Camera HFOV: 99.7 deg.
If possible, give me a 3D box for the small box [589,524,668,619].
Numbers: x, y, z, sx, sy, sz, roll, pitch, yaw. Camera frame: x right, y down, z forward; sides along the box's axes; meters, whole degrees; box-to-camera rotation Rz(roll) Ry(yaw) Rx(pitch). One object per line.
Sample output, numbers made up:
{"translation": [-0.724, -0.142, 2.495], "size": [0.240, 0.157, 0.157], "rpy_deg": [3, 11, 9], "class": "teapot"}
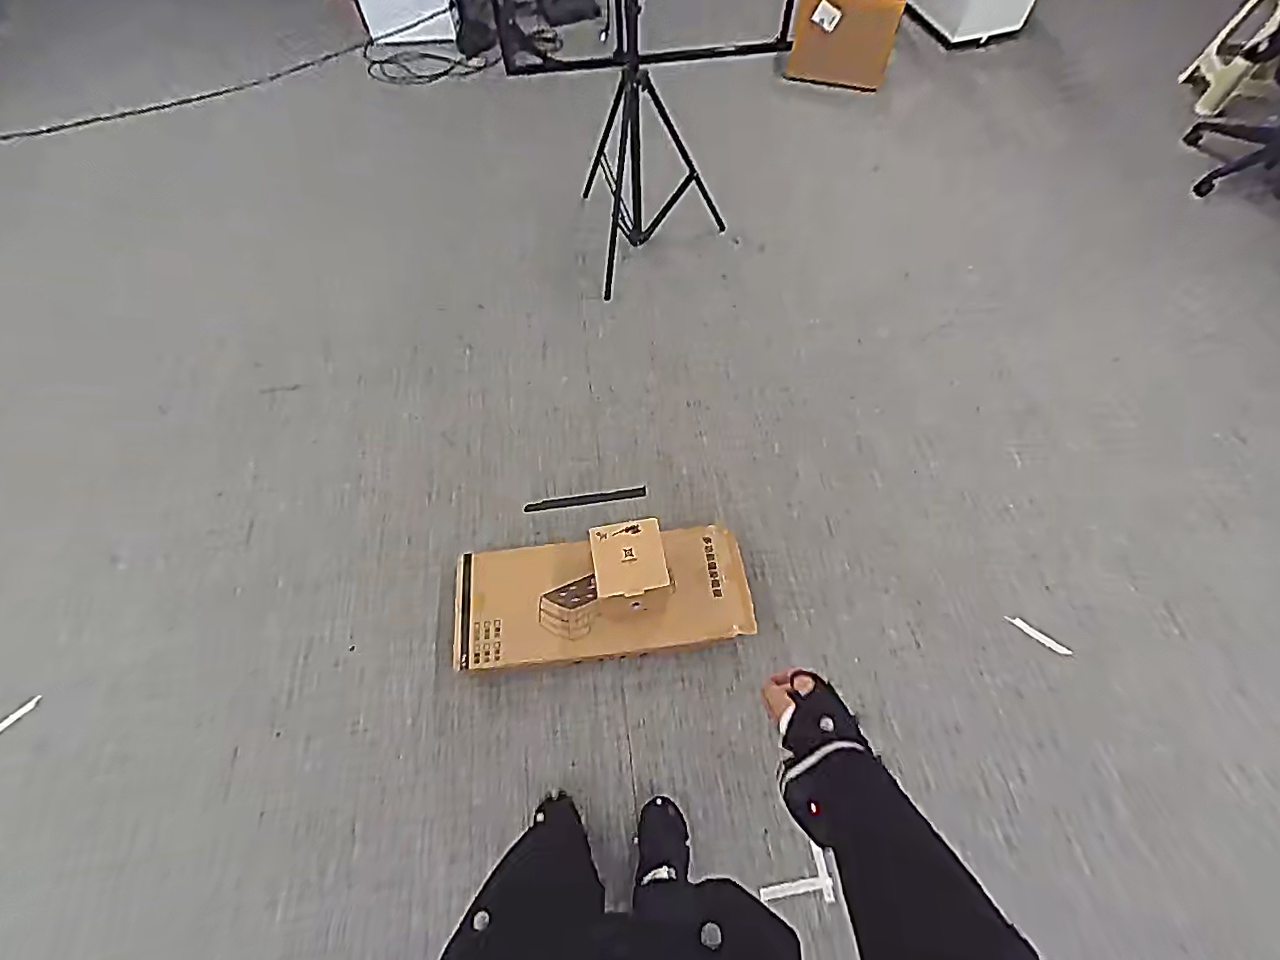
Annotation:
{"translation": [-0.025, 0.228, 1.307], "size": [0.168, 0.176, 0.179], "rpy_deg": [-9, 62, -4], "class": "small box"}
